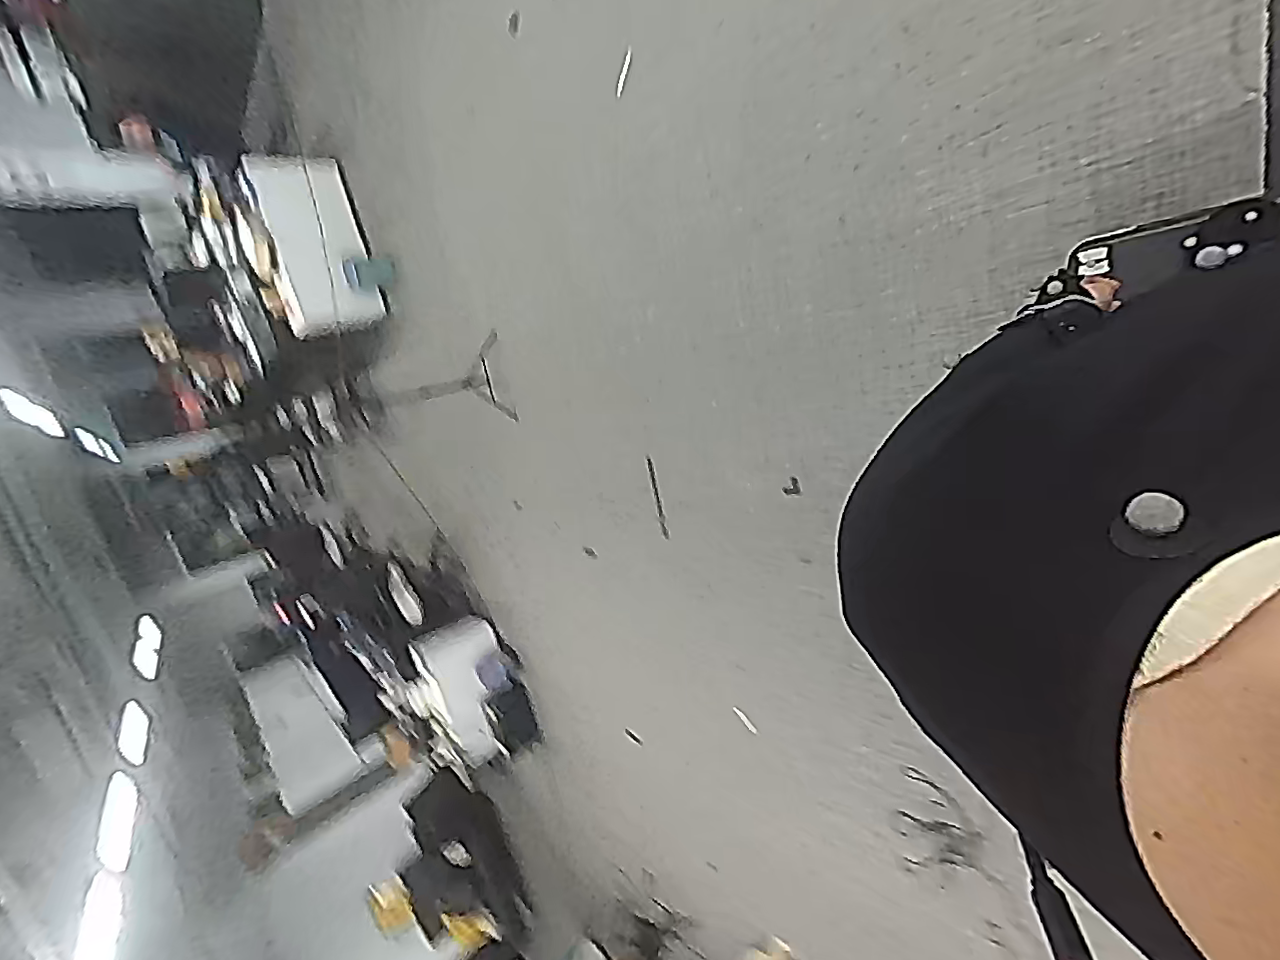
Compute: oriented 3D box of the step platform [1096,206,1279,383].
[{"bbox_3d":[1.177,-0.323,0.865,0.684,0.204,0.286,5,111,47],"label":"step platform"}]
